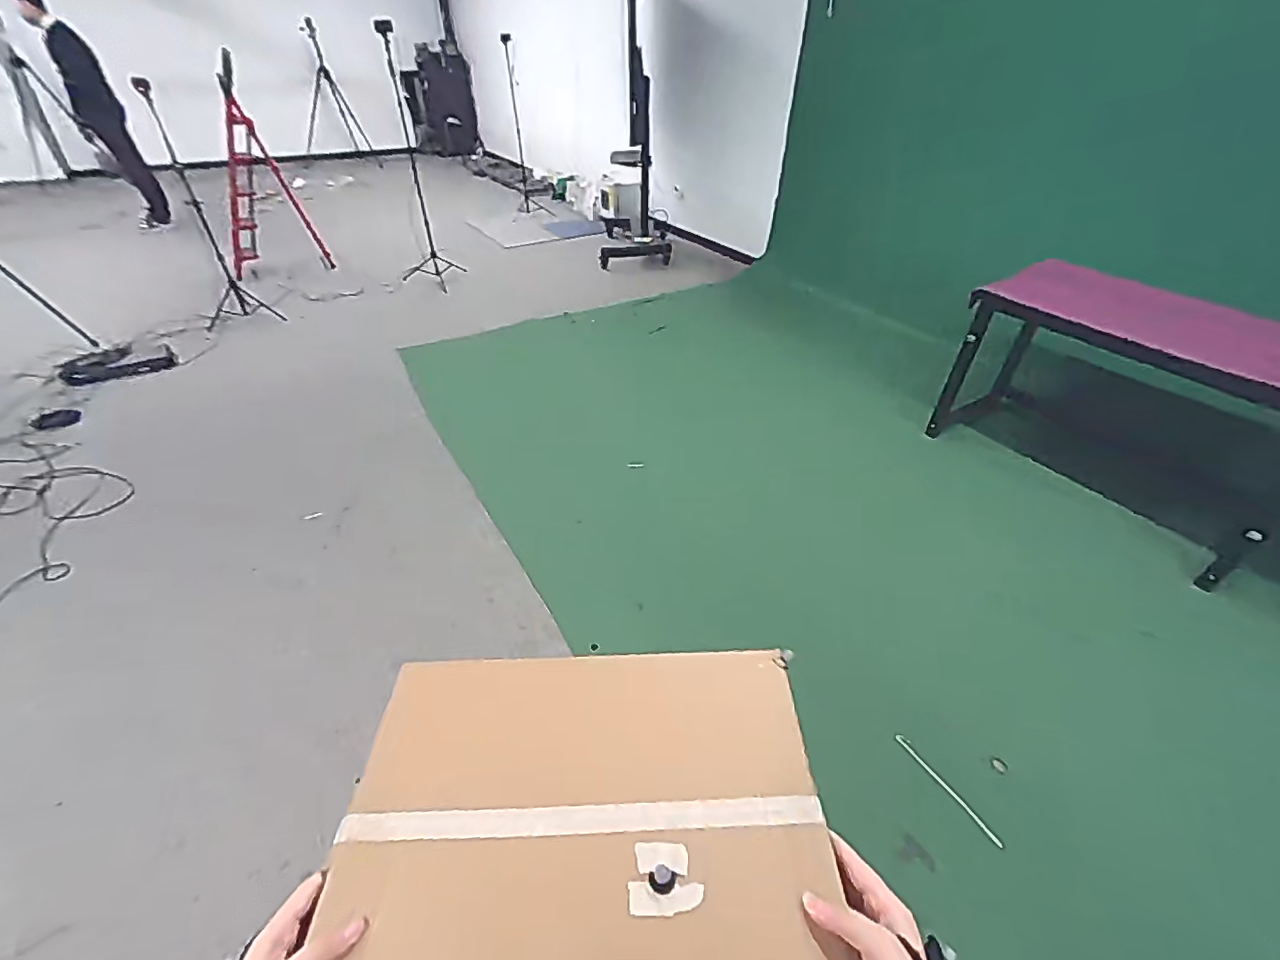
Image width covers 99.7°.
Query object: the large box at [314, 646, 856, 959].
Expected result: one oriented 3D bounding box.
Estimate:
[{"bbox_3d":[-0.046,0.402,0.565,0.408,0.320,0.320,-2,40,-1],"label":"large box"}]
